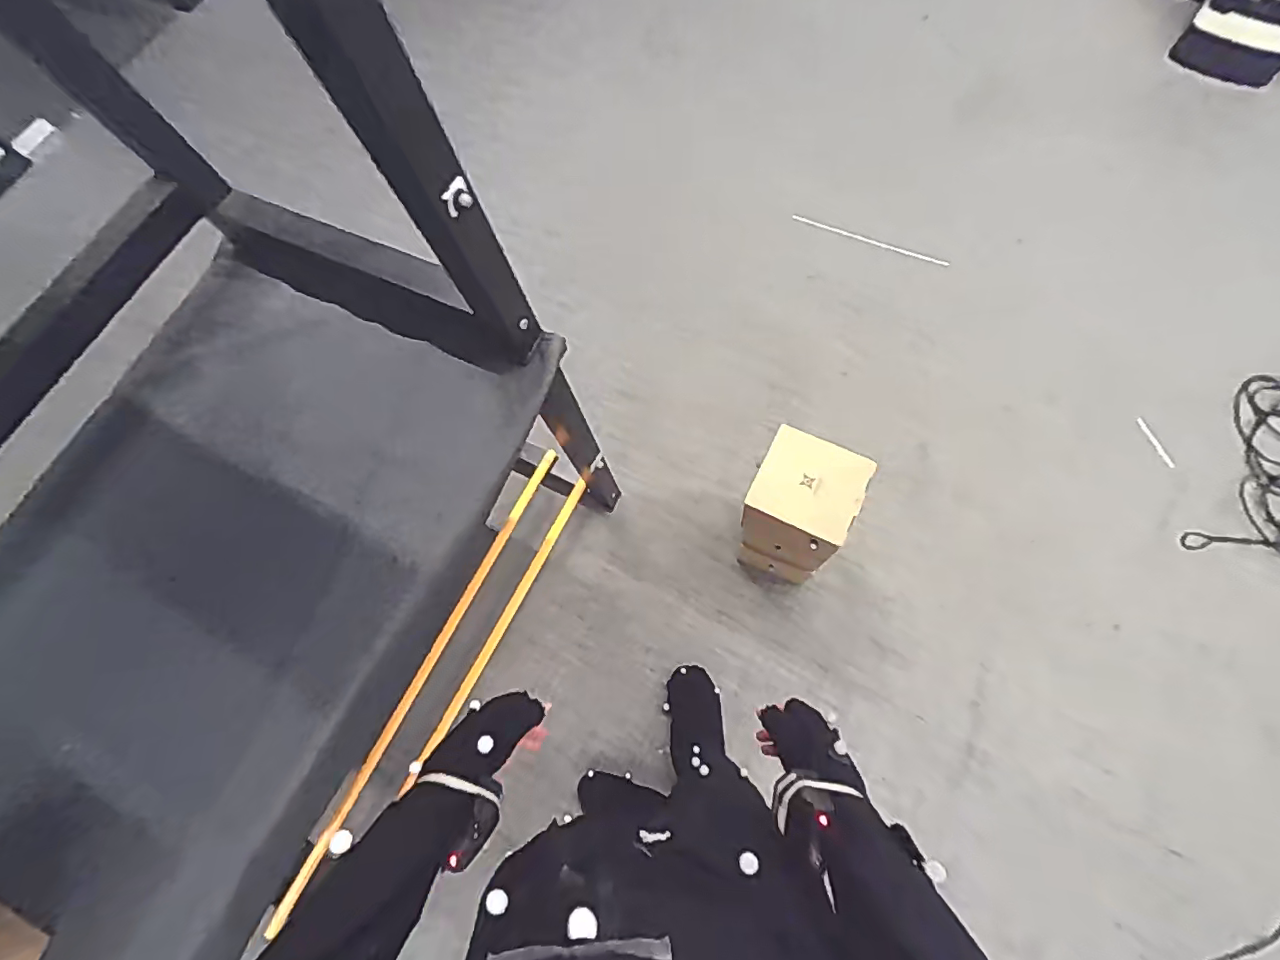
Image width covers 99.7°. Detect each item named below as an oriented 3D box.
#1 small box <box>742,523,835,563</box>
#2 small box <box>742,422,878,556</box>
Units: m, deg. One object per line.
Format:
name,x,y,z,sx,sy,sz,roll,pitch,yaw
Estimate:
small box,0.328,0.065,1.137,0.179,0.176,0.168,22,76,14
small box,0.296,0.025,0.982,0.179,0.176,0.168,25,77,14
